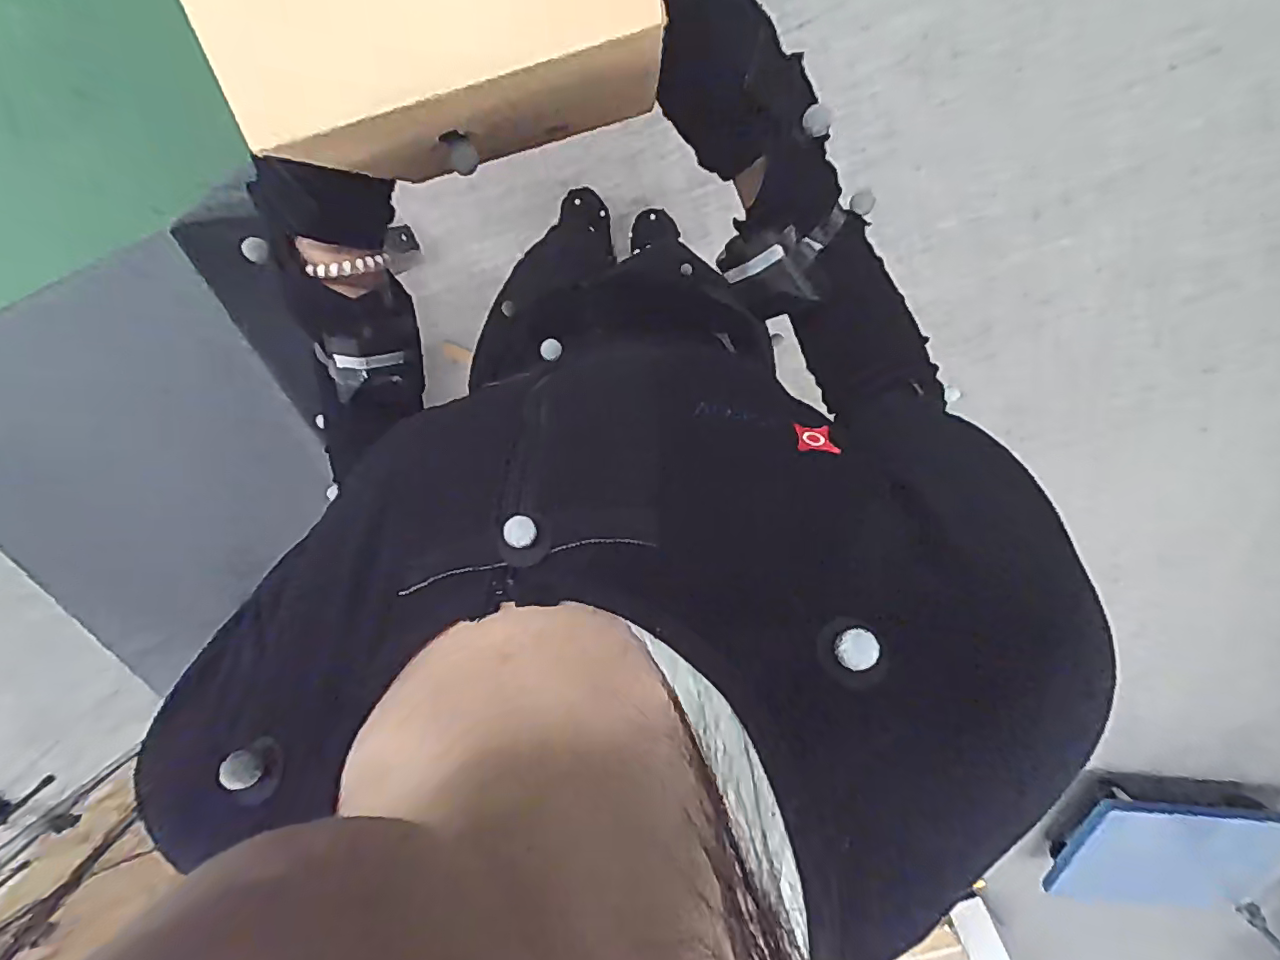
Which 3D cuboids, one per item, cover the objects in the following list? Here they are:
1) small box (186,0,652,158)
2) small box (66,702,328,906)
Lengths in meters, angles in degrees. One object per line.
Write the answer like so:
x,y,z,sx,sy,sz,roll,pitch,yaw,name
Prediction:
-0.091,-0.260,0.238,0.168,0.176,0.179,-13,114,6,small box
-0.580,0.429,0.737,0.168,0.176,0.179,-19,115,12,small box
